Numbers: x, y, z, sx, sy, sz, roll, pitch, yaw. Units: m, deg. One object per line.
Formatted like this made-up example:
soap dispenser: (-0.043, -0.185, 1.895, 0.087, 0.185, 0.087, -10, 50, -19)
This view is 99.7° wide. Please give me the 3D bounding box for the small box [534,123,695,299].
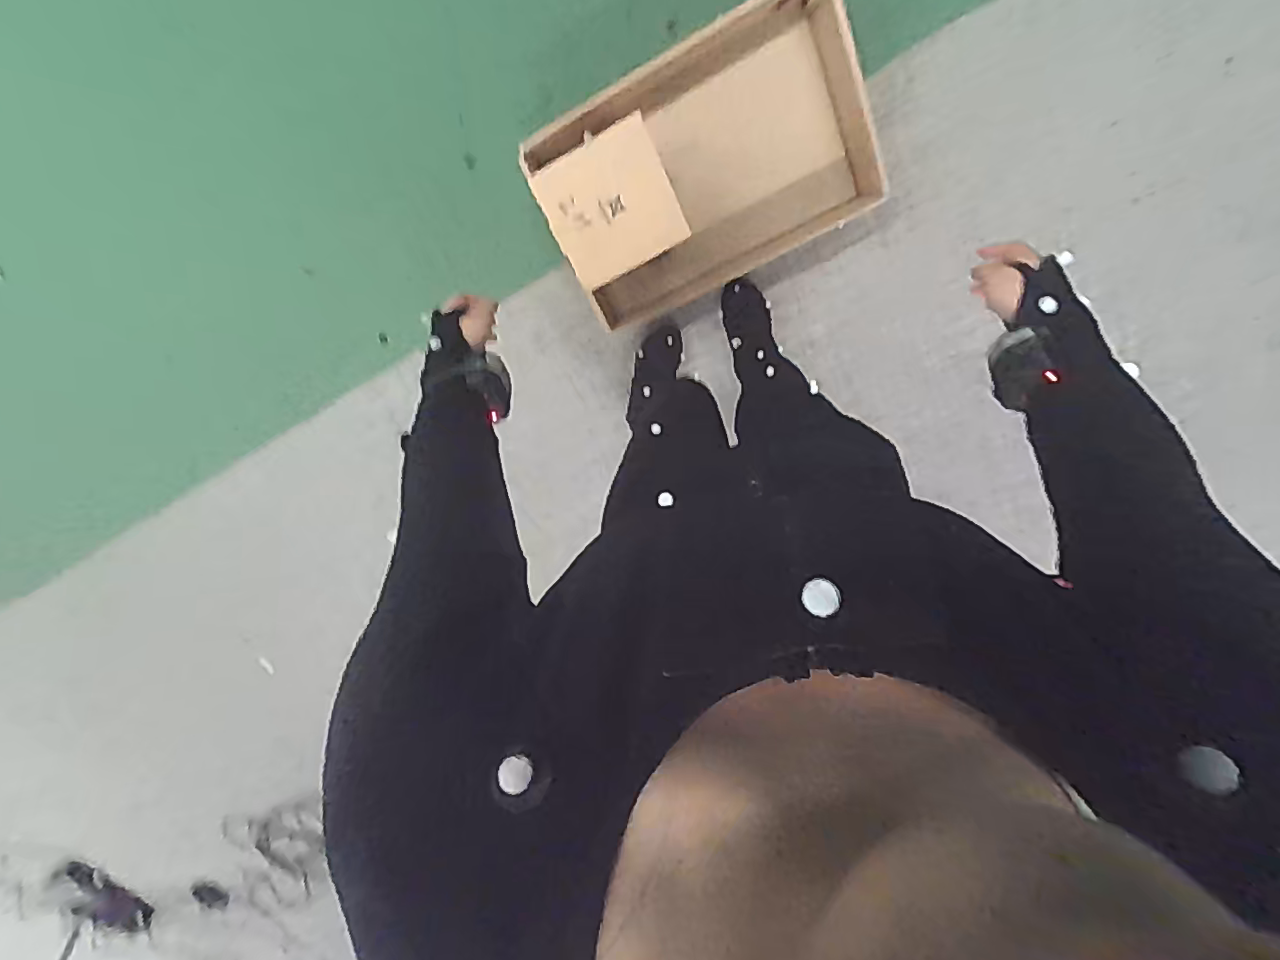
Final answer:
small box: (-0.033, -0.400, 0.817, 0.179, 0.176, 0.168, -24, 113, 13)
